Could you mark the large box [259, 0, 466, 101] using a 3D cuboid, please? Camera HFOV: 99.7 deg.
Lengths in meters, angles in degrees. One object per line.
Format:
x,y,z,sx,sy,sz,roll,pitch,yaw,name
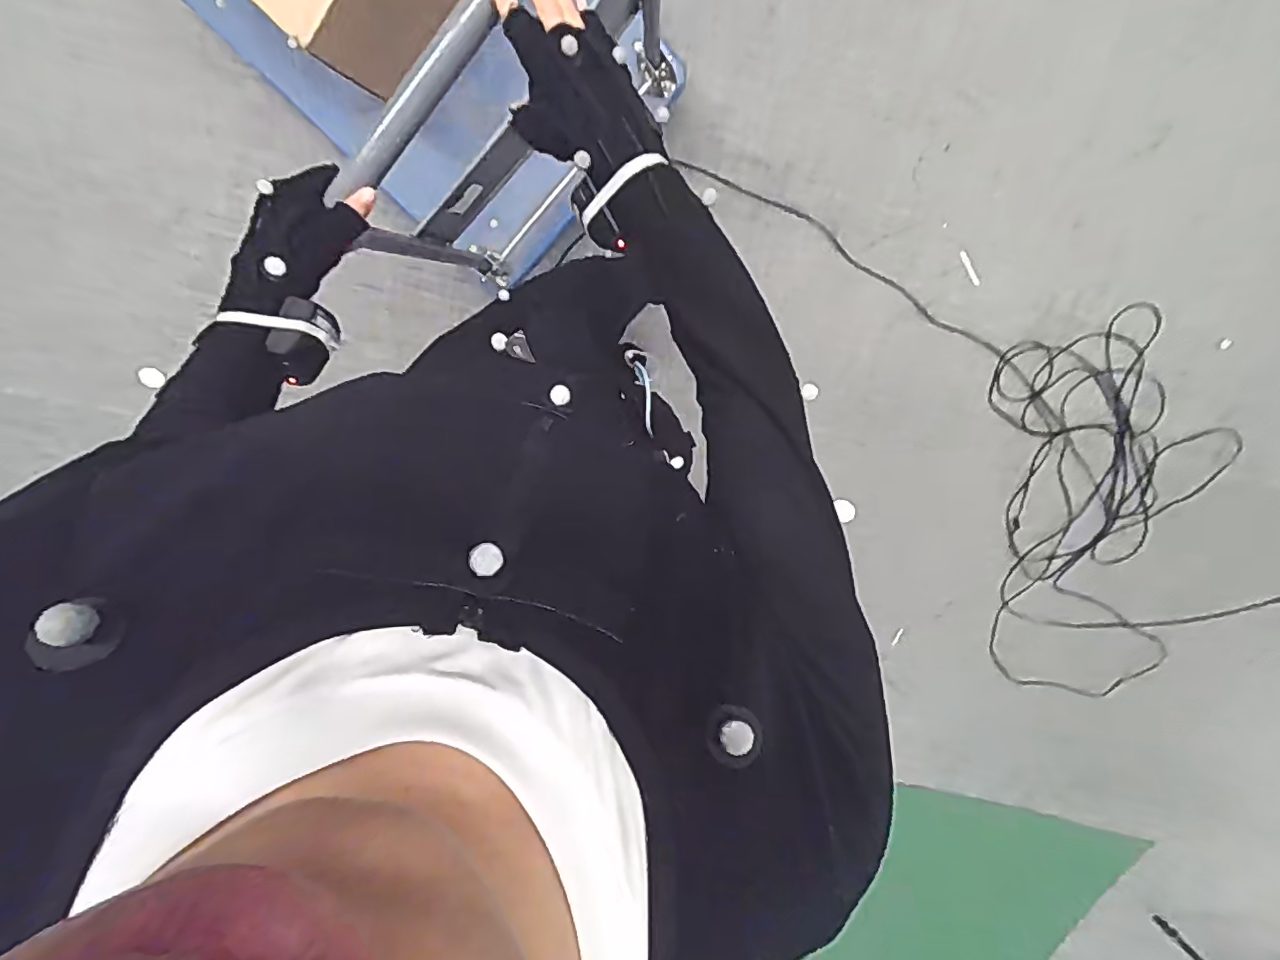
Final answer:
-0.436,-0.894,0.811,0.320,0.320,0.408,41,107,-14,large box
